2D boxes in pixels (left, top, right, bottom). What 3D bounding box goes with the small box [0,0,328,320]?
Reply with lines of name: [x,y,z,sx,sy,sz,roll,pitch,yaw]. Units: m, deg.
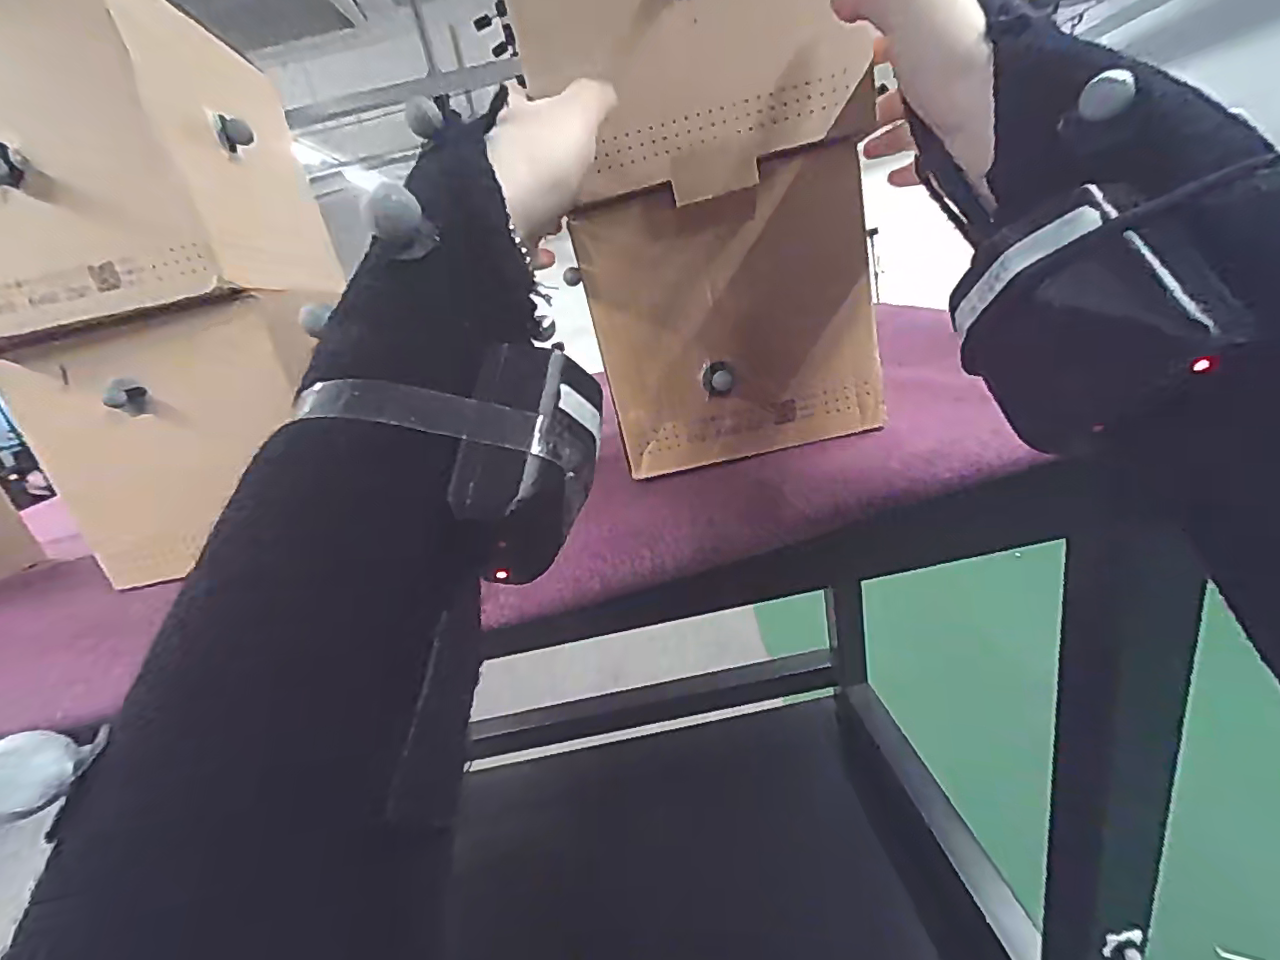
small box: [-0.339,-0.198,0.348,0.168,0.176,0.179,-14,20,-3]

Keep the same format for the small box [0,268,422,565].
small box: [-0.300,-0.052,0.413,0.179,0.176,0.168,-12,19,2]

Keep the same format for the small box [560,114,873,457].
small box: [0.053,-0.128,0.396,0.168,0.176,0.179,-13,19,4]
